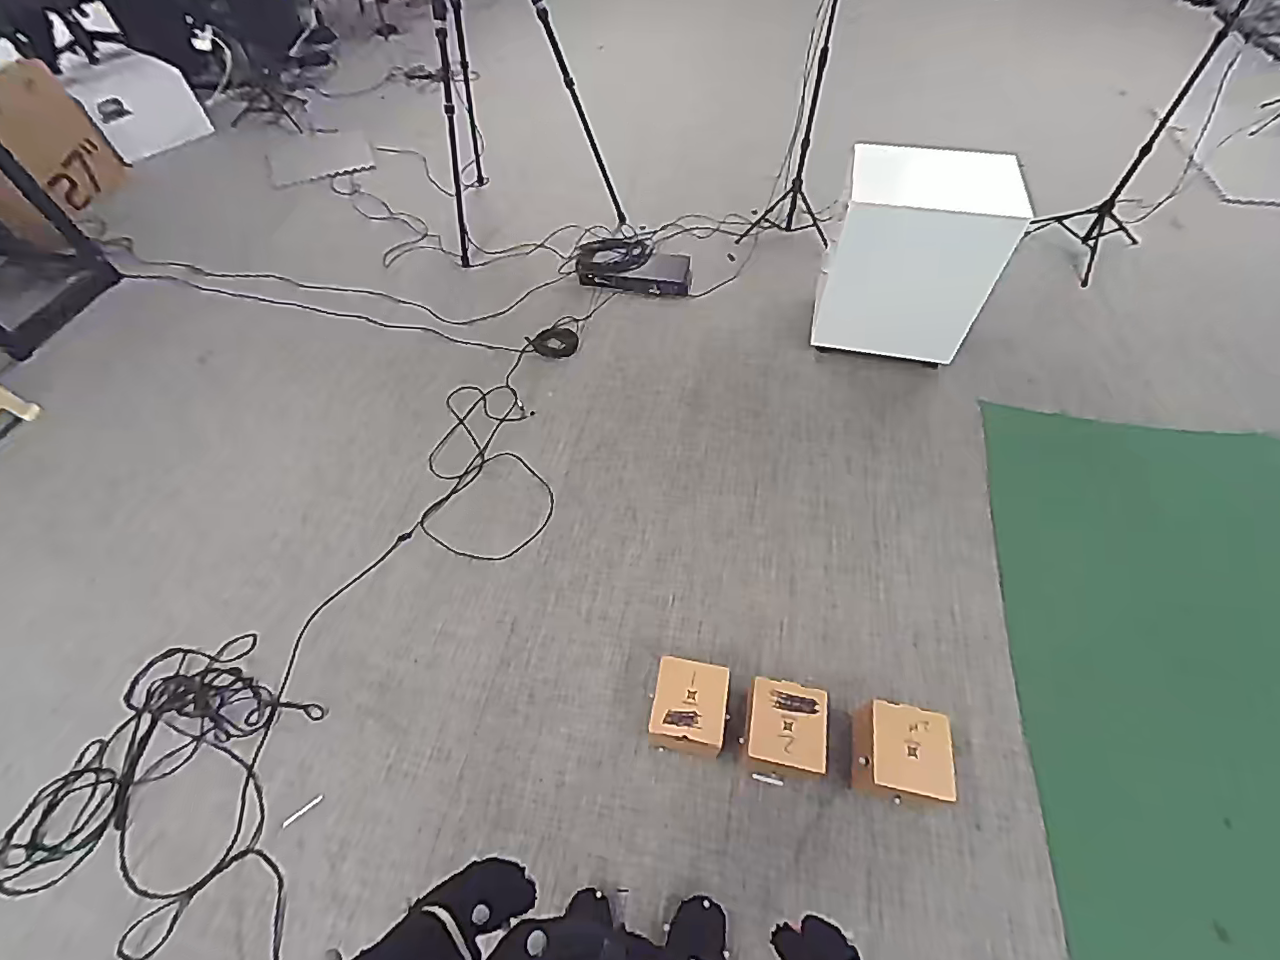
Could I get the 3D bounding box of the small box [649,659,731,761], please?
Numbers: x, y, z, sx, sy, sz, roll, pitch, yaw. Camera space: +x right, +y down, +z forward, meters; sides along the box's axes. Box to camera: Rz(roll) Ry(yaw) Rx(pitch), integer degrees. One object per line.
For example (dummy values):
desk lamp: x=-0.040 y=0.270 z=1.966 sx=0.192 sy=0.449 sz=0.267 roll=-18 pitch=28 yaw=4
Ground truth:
small box: x=0.120 y=0.552 z=1.289 sx=0.168 sy=0.176 sz=0.179 roll=8 pitch=54 yaw=9

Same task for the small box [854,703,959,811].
small box: x=0.589 y=0.627 z=1.217 sx=0.168 sy=0.176 sz=0.179 roll=10 pitch=55 yaw=8
